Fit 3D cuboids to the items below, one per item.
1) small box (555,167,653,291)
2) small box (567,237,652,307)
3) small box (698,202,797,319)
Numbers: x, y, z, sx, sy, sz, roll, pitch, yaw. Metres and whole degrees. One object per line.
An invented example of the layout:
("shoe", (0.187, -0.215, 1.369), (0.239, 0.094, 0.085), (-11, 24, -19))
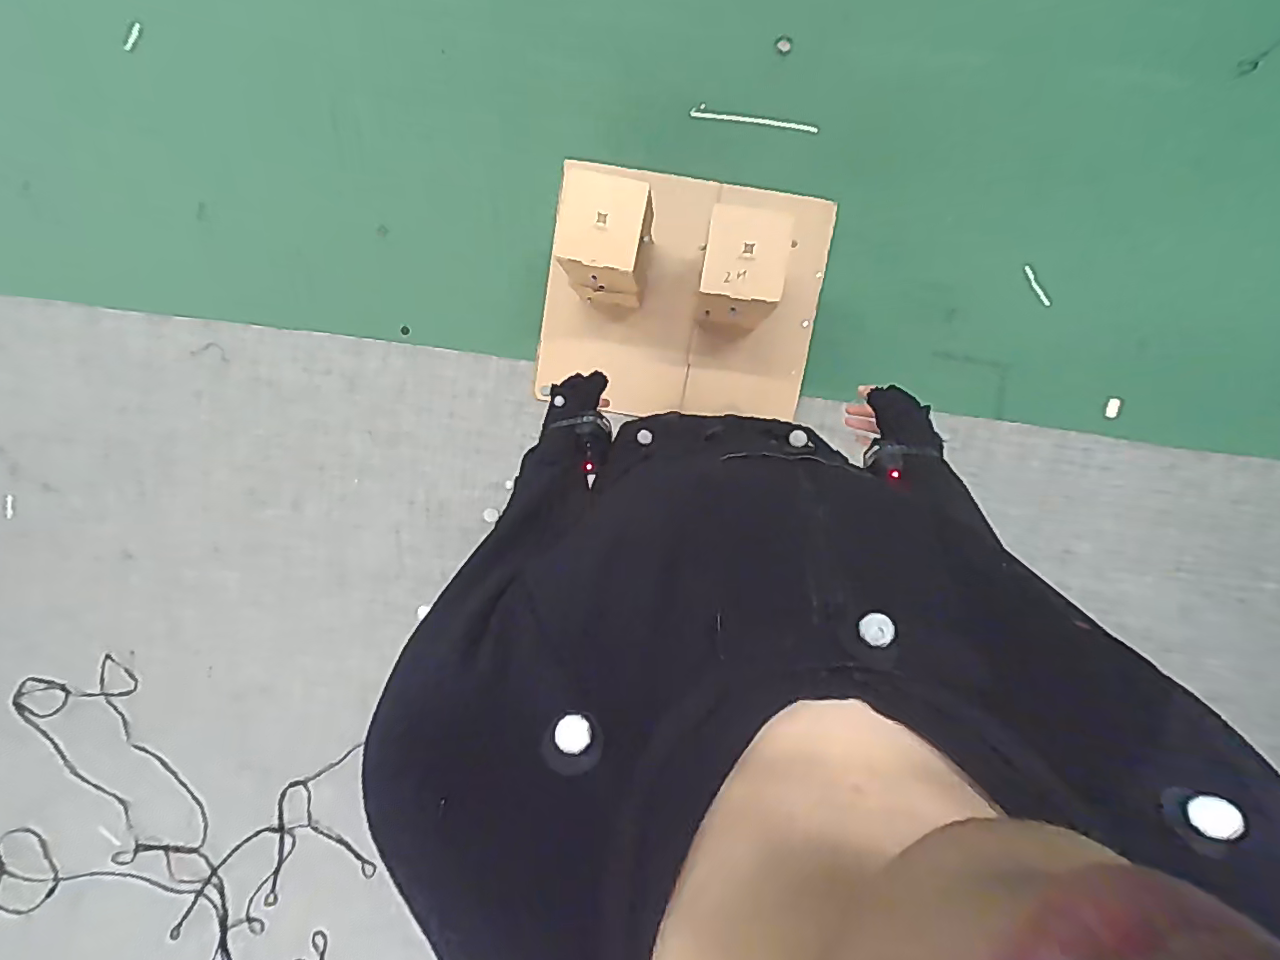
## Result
("small box", (-0.069, -0.522, 1.146), (0.168, 0.176, 0.179), (13, 98, 2))
("small box", (-0.067, -0.531, 1.309), (0.168, 0.176, 0.179), (12, 97, 2))
("small box", (0.217, -0.452, 1.138), (0.168, 0.176, 0.179), (10, 97, 3))
